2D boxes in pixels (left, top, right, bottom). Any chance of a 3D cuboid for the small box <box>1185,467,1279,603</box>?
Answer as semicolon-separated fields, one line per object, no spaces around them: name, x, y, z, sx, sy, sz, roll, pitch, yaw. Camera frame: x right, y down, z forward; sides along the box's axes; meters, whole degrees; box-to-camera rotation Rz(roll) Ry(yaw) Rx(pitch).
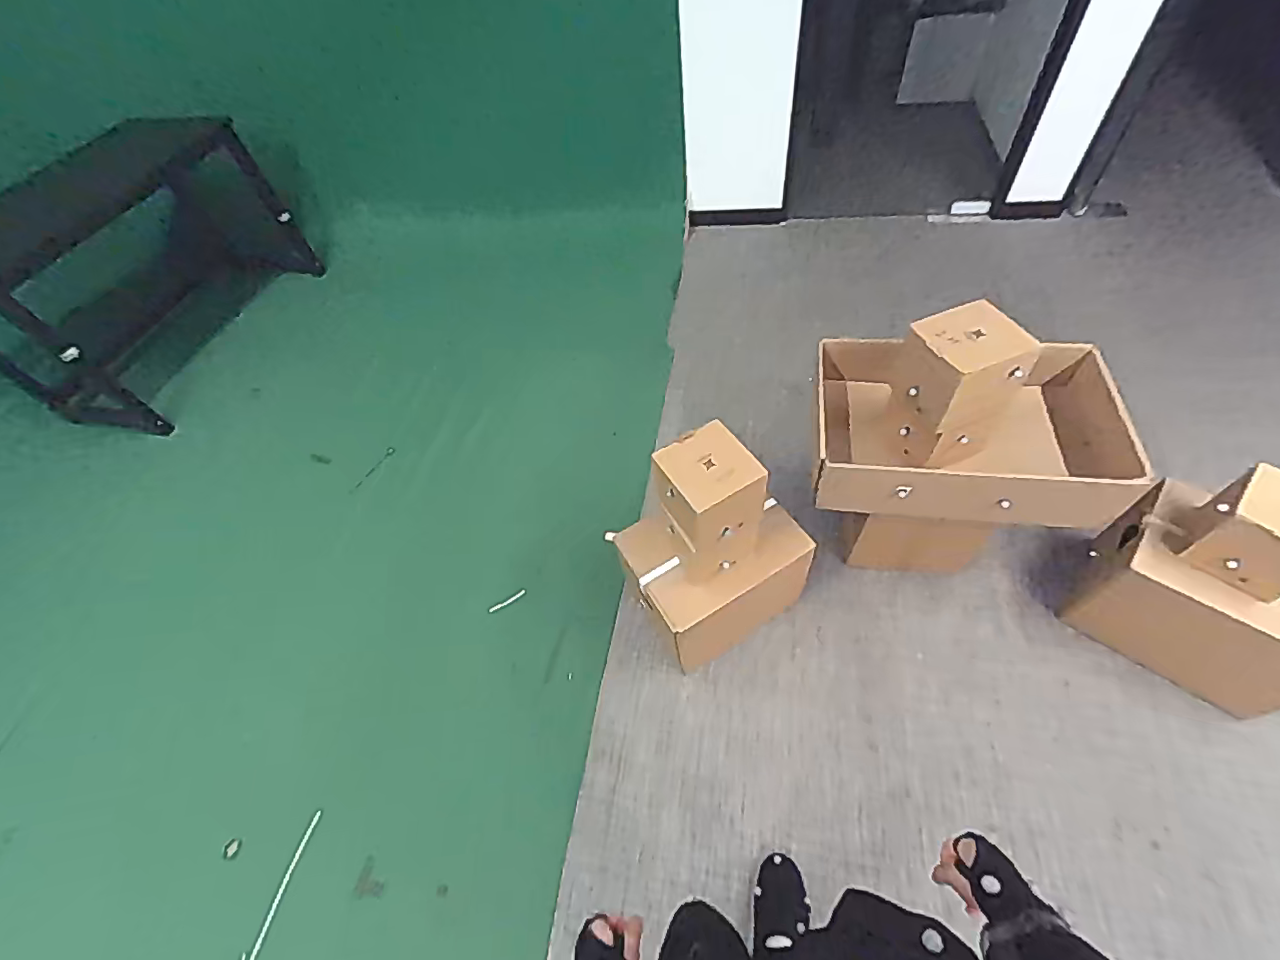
small box;1.274;0.113;1.094;0.168;0.176;0.179;37;65;29

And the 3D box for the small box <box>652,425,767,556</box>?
small box;0.141;0.024;1.122;0.168;0.176;0.179;-28;55;-11

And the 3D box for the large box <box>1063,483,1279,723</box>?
large box;1.329;0.284;1.265;0.408;0.320;0.320;33;64;26

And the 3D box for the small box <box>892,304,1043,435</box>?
small box;0.646;-0.220;1.094;0.179;0.176;0.168;-20;53;-5

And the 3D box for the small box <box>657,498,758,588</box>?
small box;0.154;0.119;1.254;0.168;0.176;0.179;-26;55;-10
